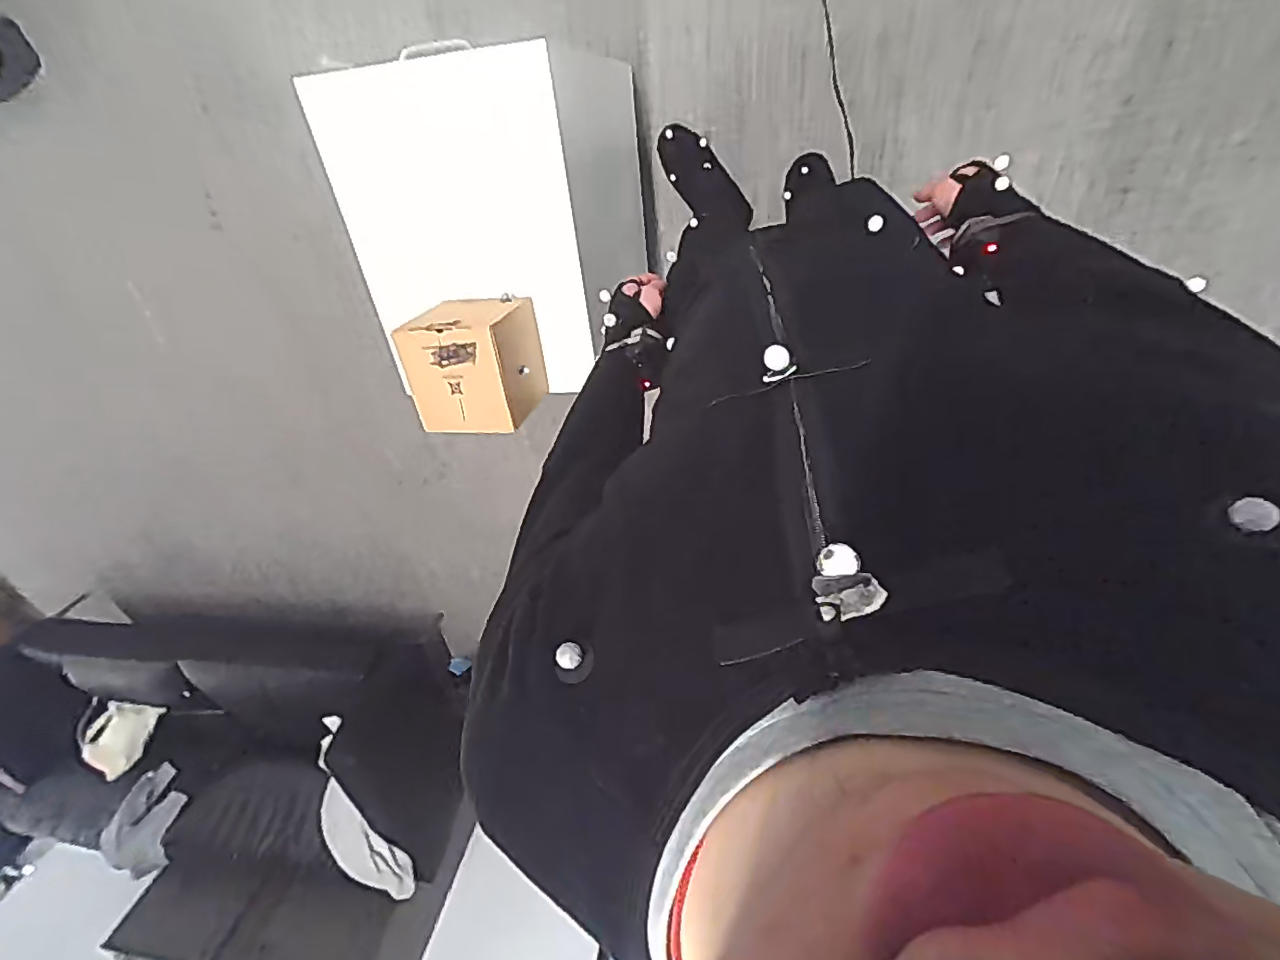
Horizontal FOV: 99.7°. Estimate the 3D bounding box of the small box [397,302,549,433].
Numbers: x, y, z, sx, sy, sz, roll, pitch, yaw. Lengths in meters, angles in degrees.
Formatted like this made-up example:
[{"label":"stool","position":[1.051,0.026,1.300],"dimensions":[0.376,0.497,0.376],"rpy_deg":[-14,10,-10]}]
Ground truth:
[{"label":"small box","position":[-0.267,-0.194,0.909],"dimensions":[0.168,0.176,0.179],"rpy_deg":[2,124,13]}]
